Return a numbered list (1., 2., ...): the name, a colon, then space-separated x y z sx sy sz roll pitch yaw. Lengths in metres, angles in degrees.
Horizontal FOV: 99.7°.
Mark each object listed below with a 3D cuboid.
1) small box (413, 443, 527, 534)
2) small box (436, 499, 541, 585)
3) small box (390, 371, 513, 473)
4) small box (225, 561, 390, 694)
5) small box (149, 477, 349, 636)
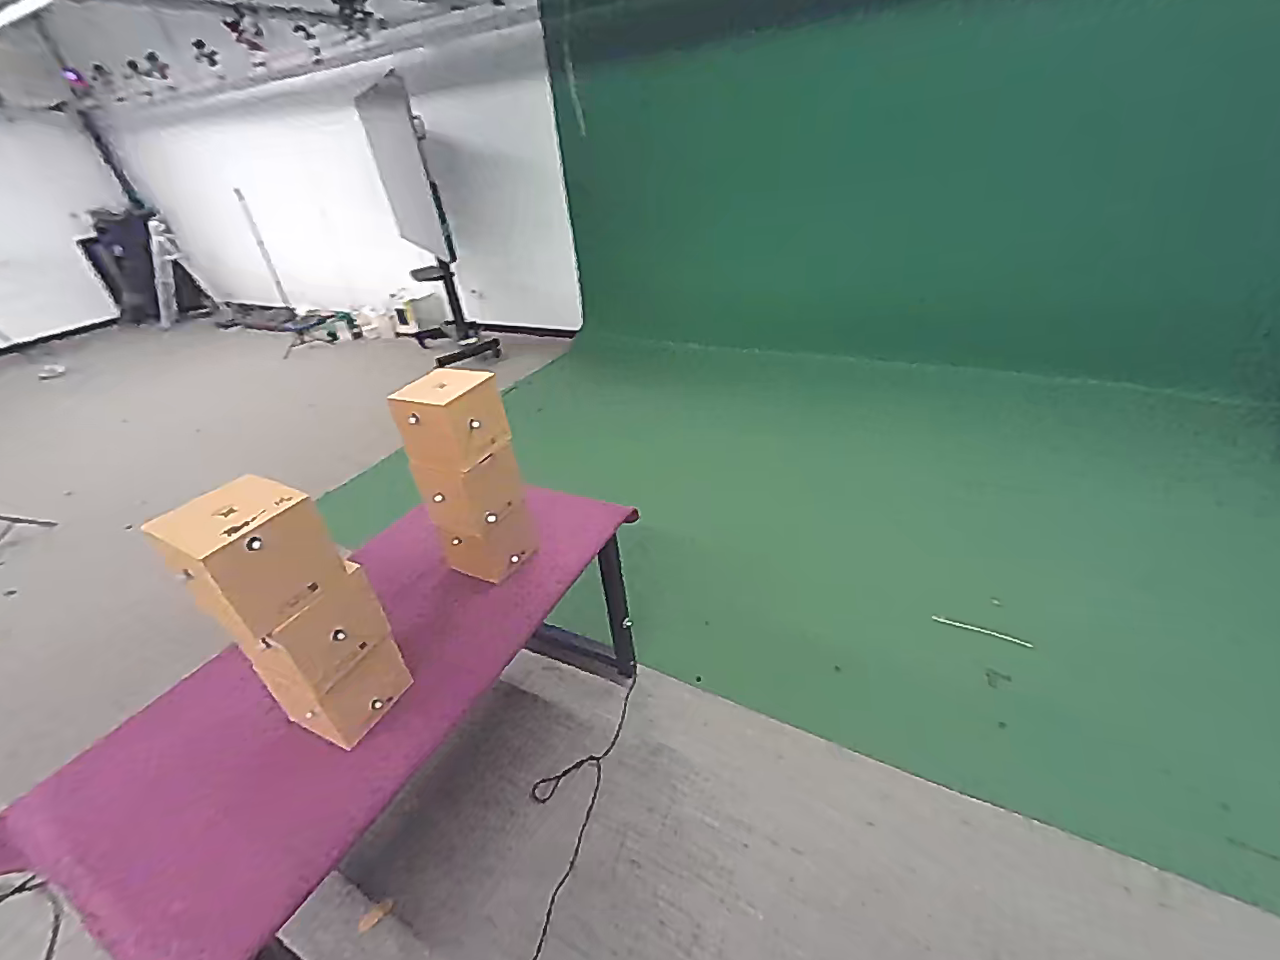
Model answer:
1. small box: -0.401 0.009 1.304 0.179 0.176 0.168 10 38 28
2. small box: -0.384 0.144 1.394 0.179 0.176 0.168 12 39 28
3. small box: -0.416 -0.132 1.225 0.179 0.176 0.168 9 38 27
4. small box: -0.585 0.249 0.962 0.179 0.176 0.168 10 36 25
5. small box: -0.612 0.120 0.863 0.179 0.176 0.168 12 38 27
